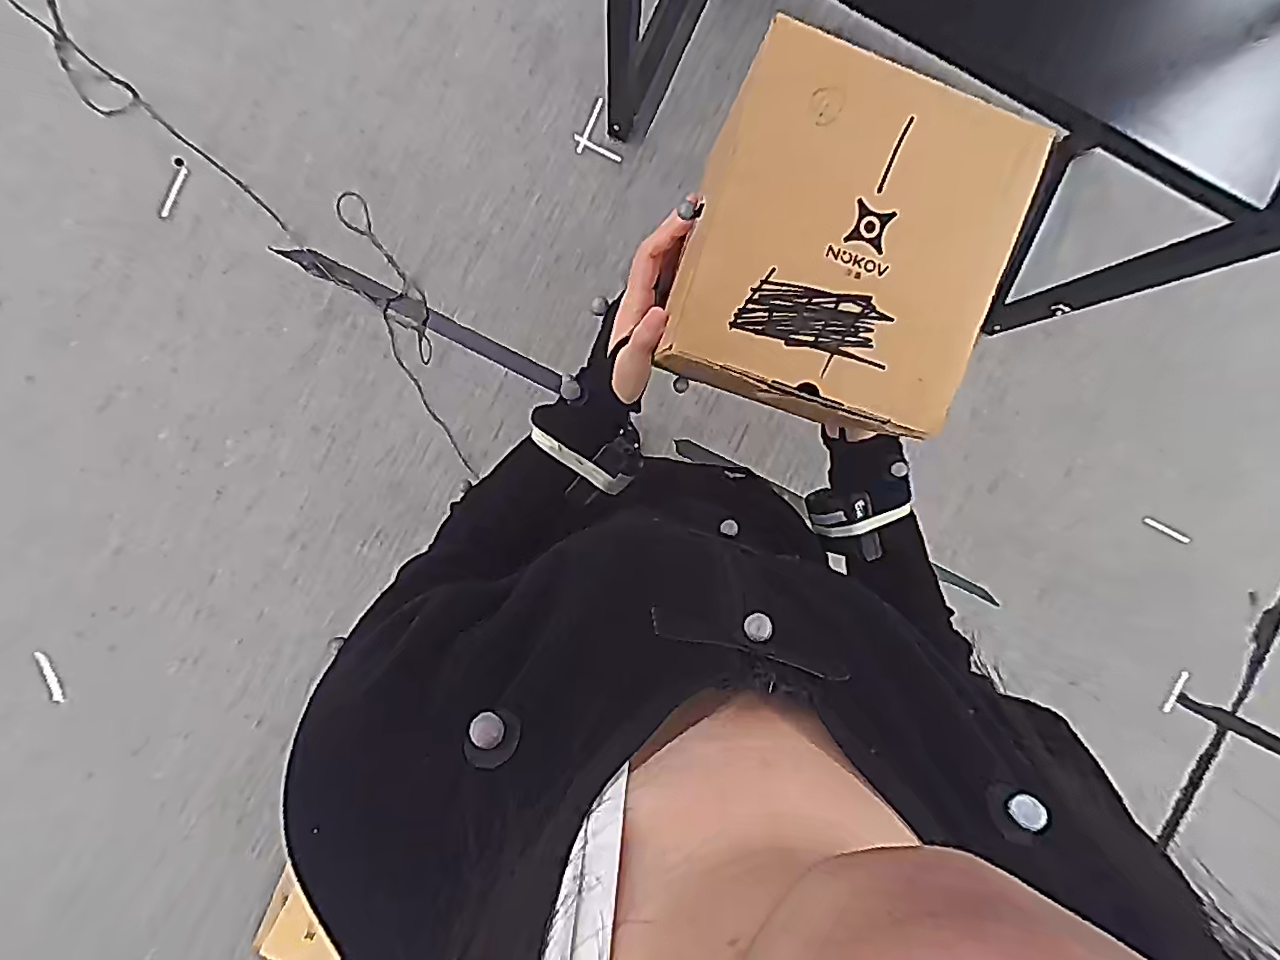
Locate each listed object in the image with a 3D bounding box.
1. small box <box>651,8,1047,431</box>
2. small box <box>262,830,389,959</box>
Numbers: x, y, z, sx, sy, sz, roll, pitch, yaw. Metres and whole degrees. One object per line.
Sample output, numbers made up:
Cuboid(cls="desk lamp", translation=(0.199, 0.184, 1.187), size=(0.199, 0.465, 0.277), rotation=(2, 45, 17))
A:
Cuboid(cls="small box", translation=(0.110, -0.145, 0.369), size=(0.168, 0.176, 0.179), rotation=(17, 97, -7))
Cuboid(cls="small box", translation=(-0.725, 0.981, 1.270), size=(0.168, 0.176, 0.179), rotation=(28, 91, -5))
